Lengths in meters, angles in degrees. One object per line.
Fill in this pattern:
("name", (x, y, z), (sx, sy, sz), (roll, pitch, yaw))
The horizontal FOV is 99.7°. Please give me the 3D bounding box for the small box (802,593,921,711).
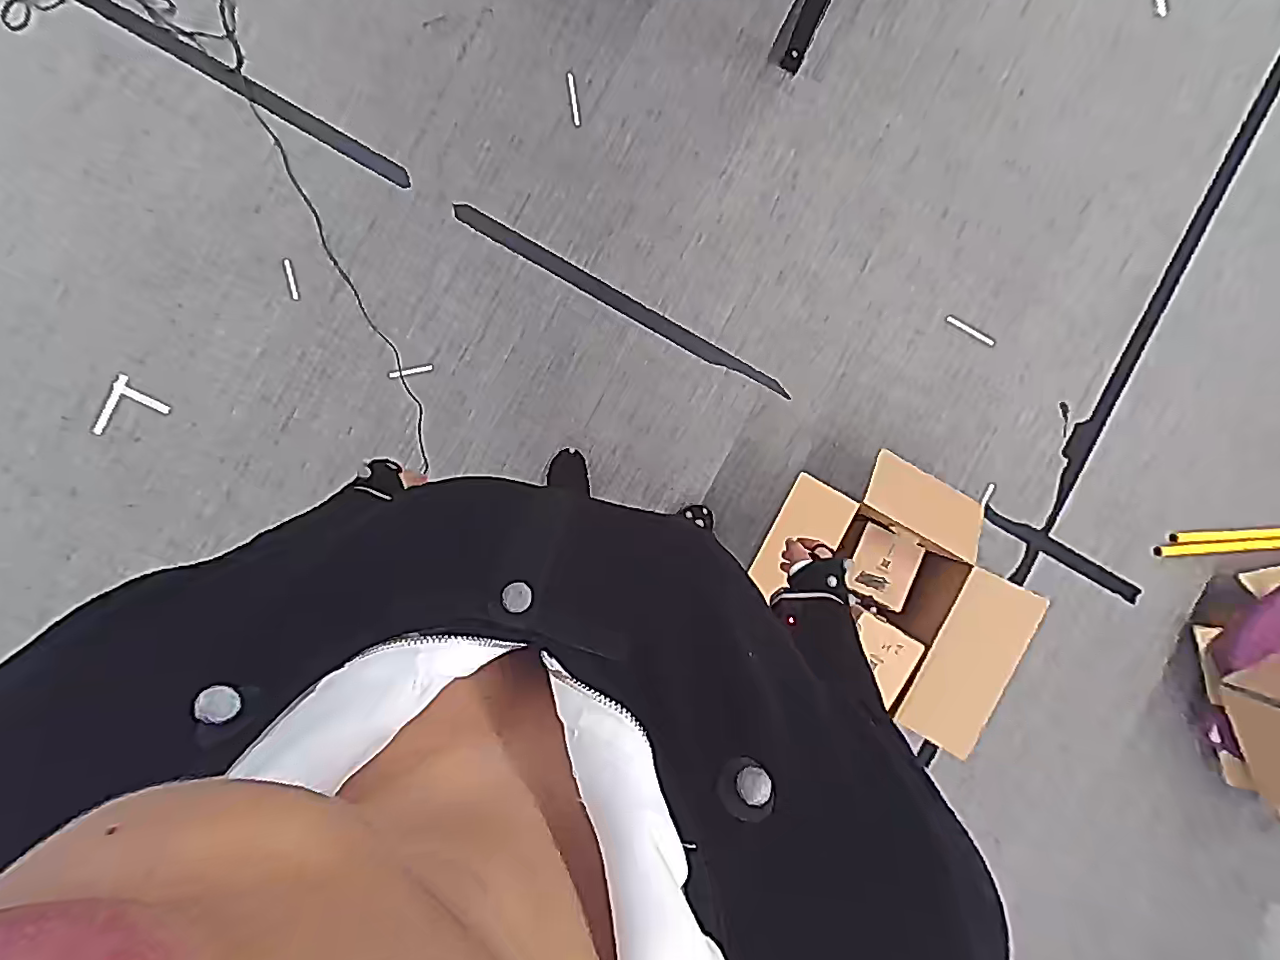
("small box", (0.501, 0.390, 1.259), (0.168, 0.176, 0.179), (30, 90, -4))
